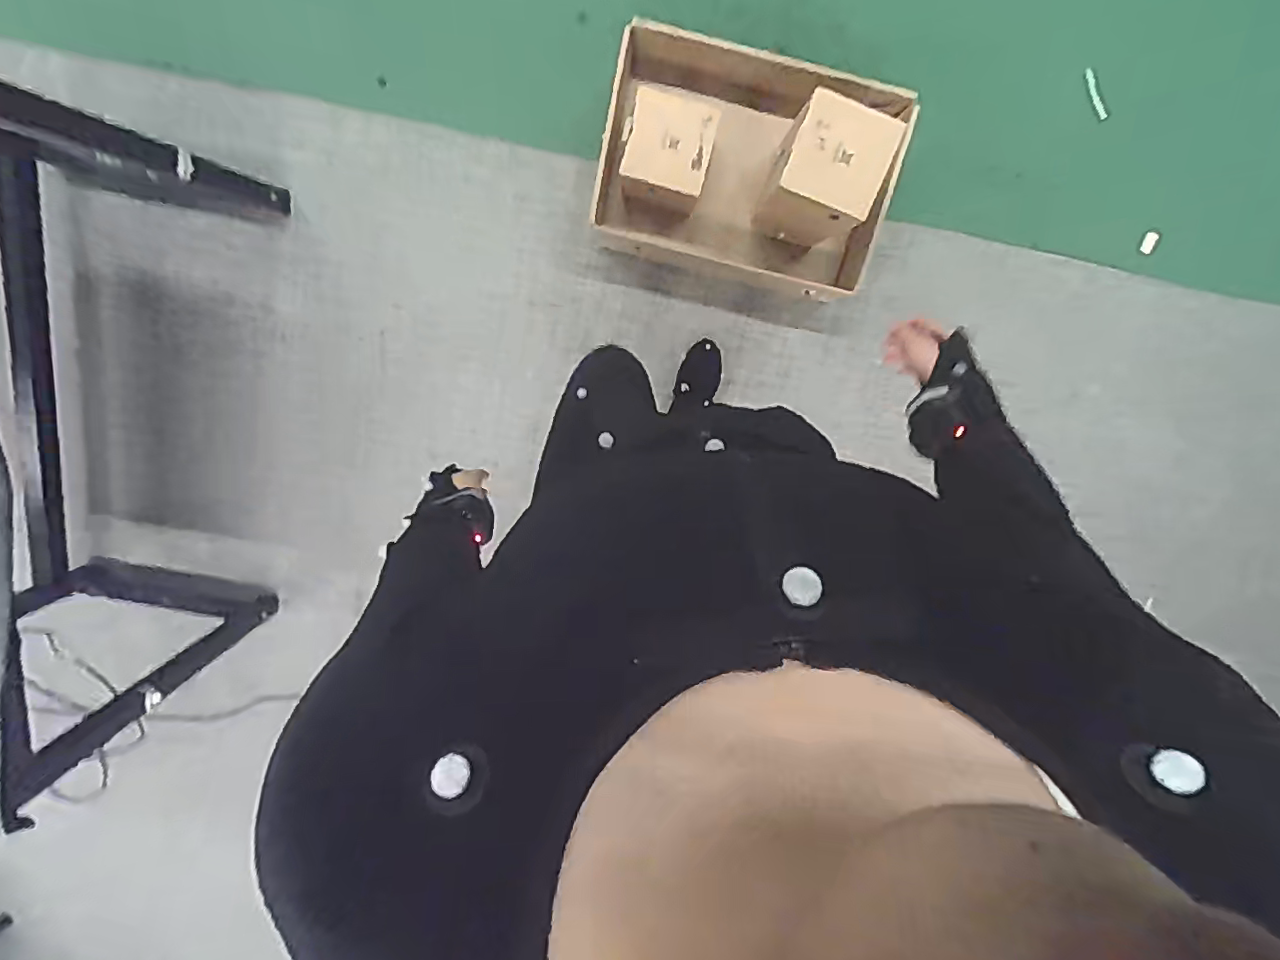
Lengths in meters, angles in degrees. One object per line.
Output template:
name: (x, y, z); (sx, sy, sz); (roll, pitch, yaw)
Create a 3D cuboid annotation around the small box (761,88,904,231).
small box: (0.352, -0.591, 1.026); (0.179, 0.176, 0.168); (20, 105, -4)

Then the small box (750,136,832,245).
small box: (0.355, -0.639, 1.184); (0.168, 0.176, 0.179); (20, 106, -4)
